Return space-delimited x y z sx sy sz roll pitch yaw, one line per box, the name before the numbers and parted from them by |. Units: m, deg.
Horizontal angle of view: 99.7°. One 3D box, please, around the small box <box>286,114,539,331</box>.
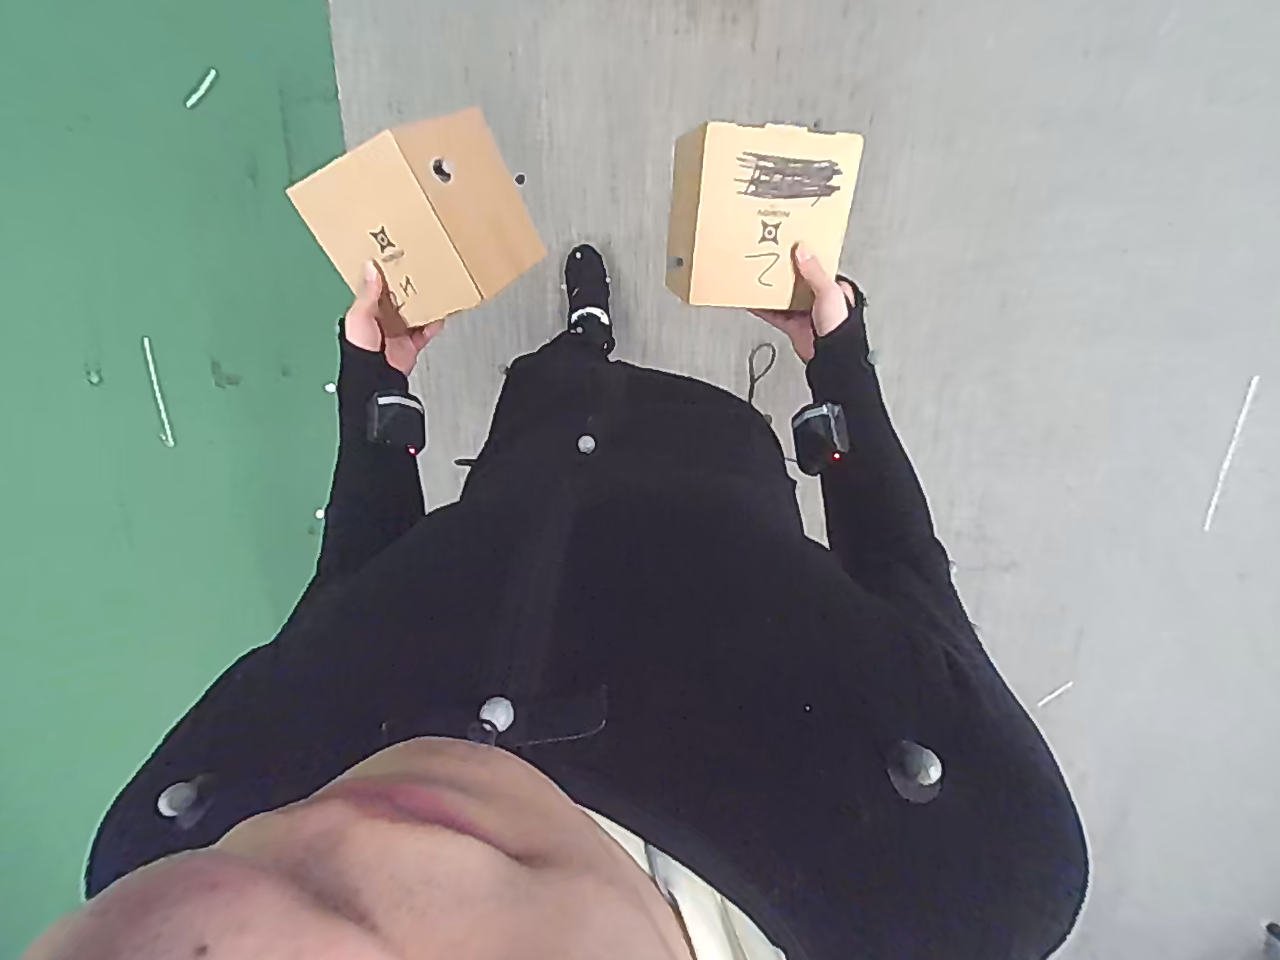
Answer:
small box | -0.250 -0.305 0.637 0.168 0.176 0.179 -7 125 27
